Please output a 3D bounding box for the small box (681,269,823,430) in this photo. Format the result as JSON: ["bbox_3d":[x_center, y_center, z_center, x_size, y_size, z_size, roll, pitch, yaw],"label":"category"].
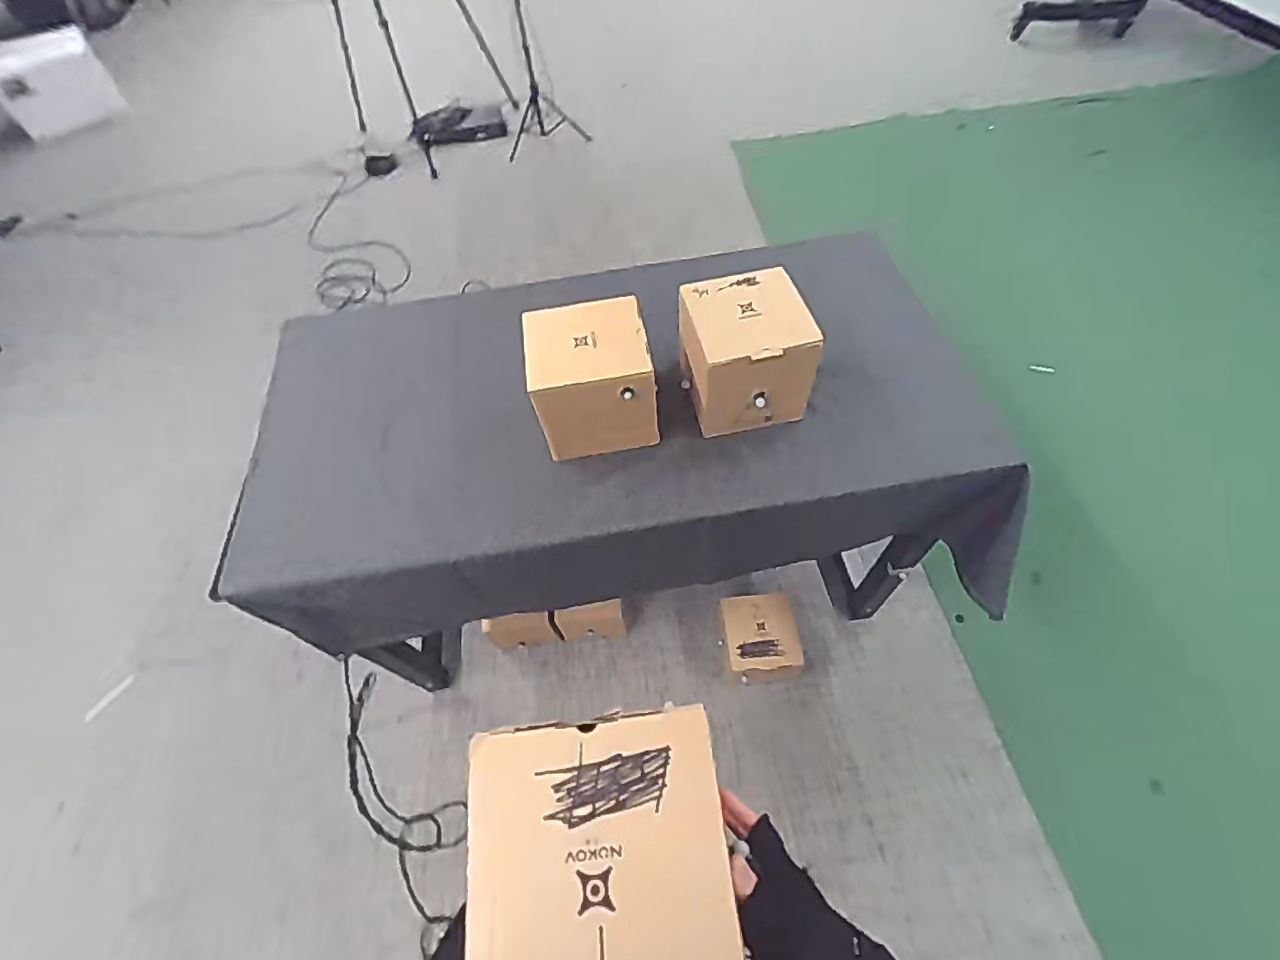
[{"bbox_3d":[0.163,-0.195,0.846,0.168,0.176,0.179,-11,57,-4],"label":"small box"}]
